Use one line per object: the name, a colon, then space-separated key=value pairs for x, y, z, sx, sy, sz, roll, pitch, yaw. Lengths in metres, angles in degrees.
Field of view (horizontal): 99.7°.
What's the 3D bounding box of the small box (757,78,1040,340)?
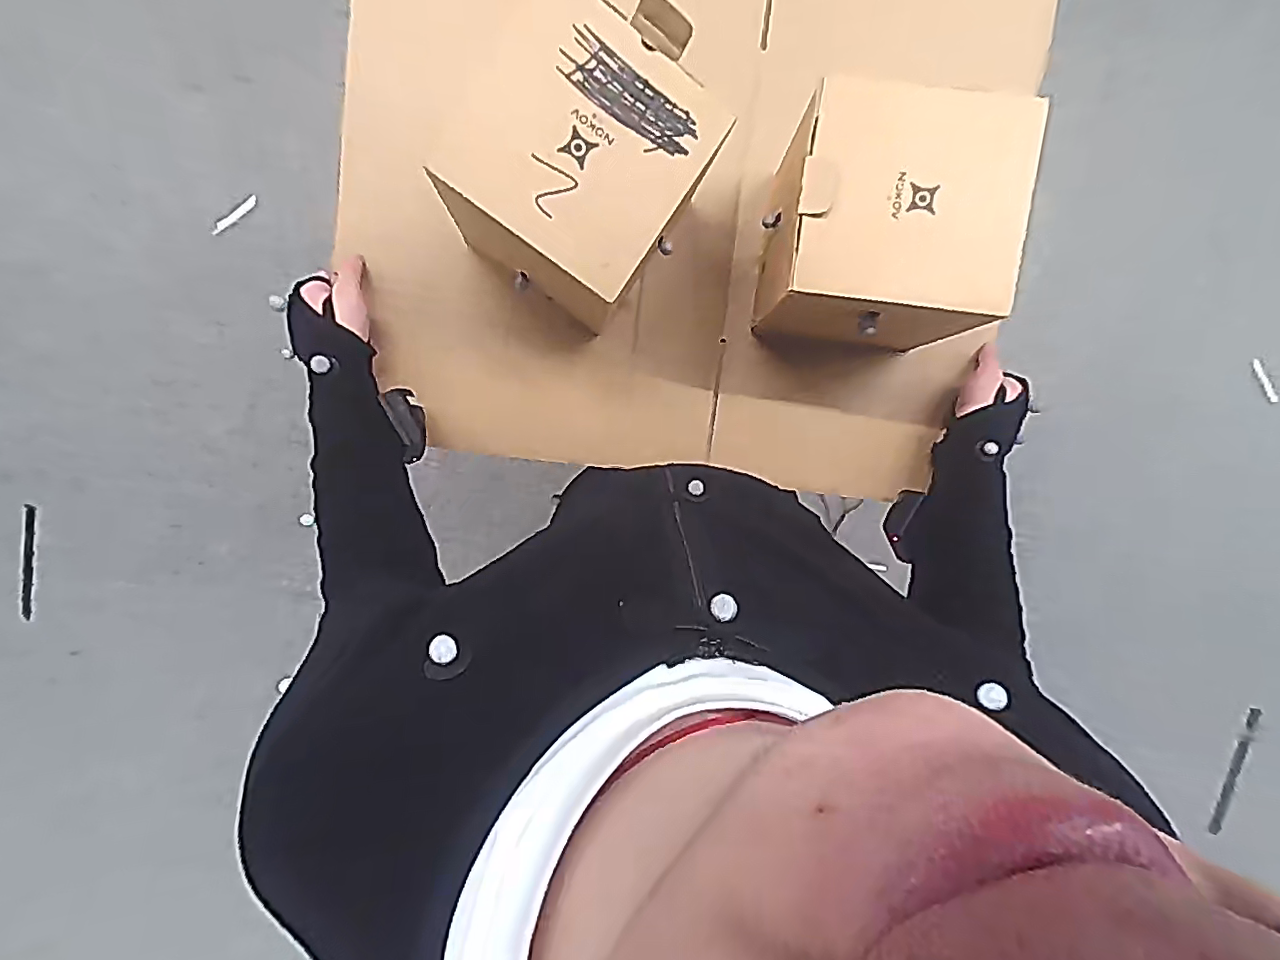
small box: x=0.222 y=-0.235 z=0.514 sx=0.179 sy=0.176 sz=0.168 roll=7 pitch=95 yaw=1
